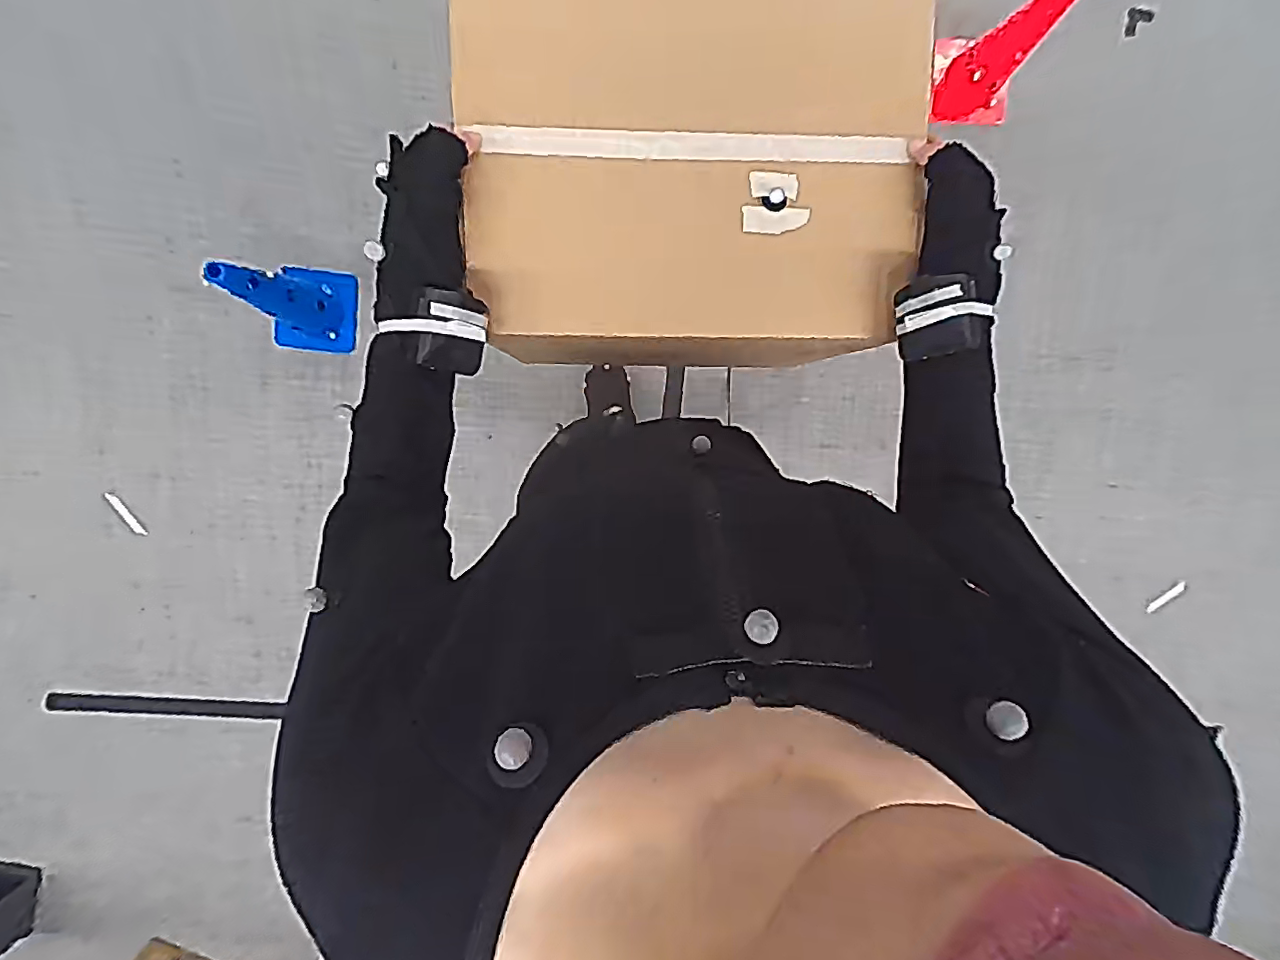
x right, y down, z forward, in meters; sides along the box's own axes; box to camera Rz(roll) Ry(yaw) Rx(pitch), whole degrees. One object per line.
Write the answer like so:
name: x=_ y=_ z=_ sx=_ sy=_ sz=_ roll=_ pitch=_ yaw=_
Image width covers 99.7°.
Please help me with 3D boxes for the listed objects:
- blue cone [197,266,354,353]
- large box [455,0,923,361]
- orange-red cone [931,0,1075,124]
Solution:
blue cone: x=-0.823 y=-0.408 z=1.213 sx=0.192 sy=0.380 sz=0.193 roll=7 pitch=95 yaw=-3
large box: x=0.036 y=-0.309 z=0.612 sx=0.408 sy=0.320 sz=0.320 roll=0 pitch=97 yaw=-4
orange-red cone: x=0.861 y=-1.014 z=1.225 sx=0.198 sy=0.360 sz=0.199 roll=1 pitch=95 yaw=-4
